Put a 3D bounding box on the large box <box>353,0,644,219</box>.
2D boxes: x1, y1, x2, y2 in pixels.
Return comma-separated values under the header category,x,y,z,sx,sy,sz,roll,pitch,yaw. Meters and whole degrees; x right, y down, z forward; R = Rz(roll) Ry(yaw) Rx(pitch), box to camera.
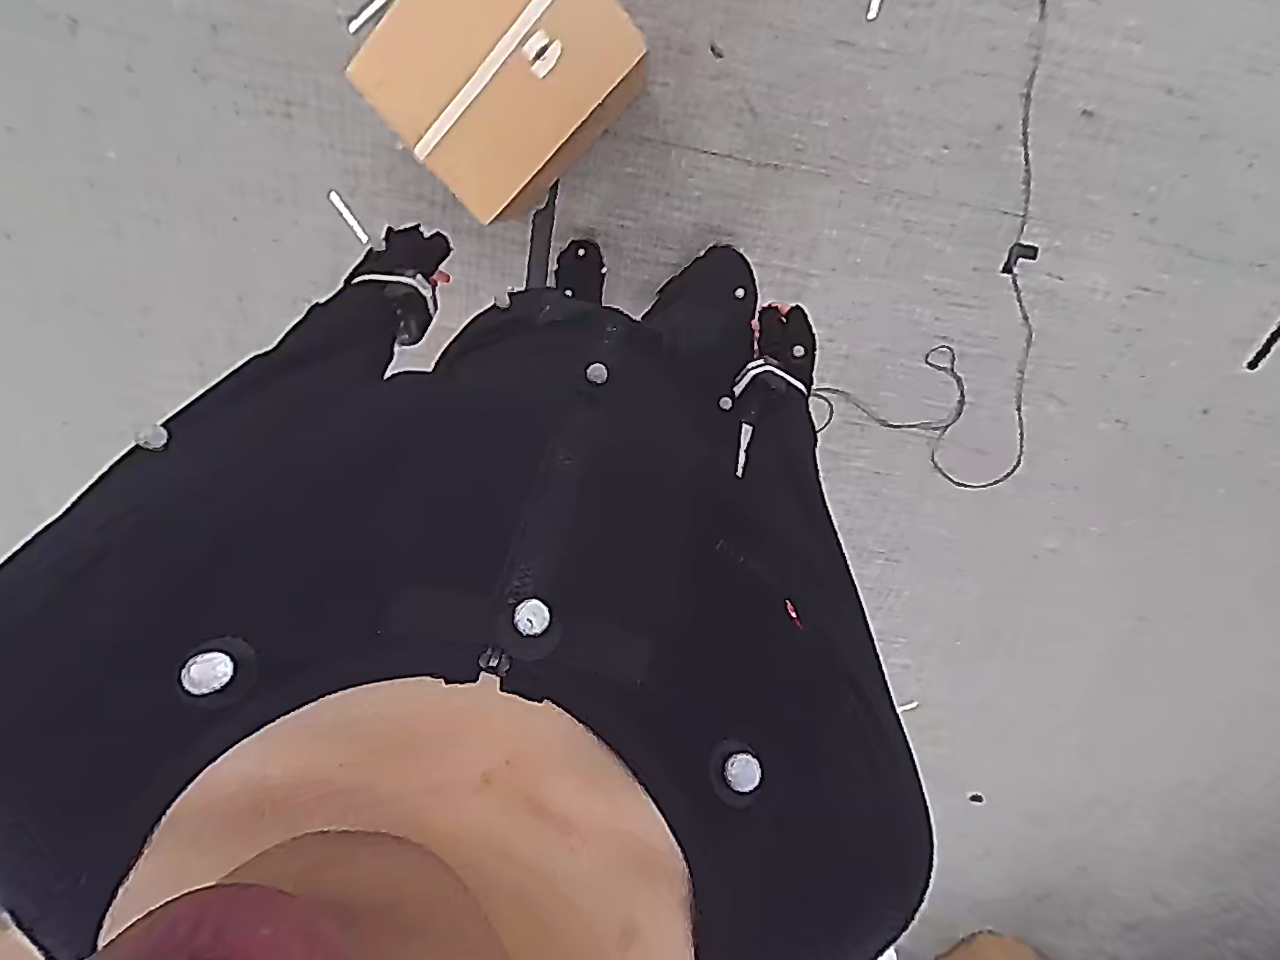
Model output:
category,x,y,z,sx,sy,sz,roll,pitch,yaw
large box,-0.237,-0.766,1.023,0.408,0.320,0.320,-38,112,18
